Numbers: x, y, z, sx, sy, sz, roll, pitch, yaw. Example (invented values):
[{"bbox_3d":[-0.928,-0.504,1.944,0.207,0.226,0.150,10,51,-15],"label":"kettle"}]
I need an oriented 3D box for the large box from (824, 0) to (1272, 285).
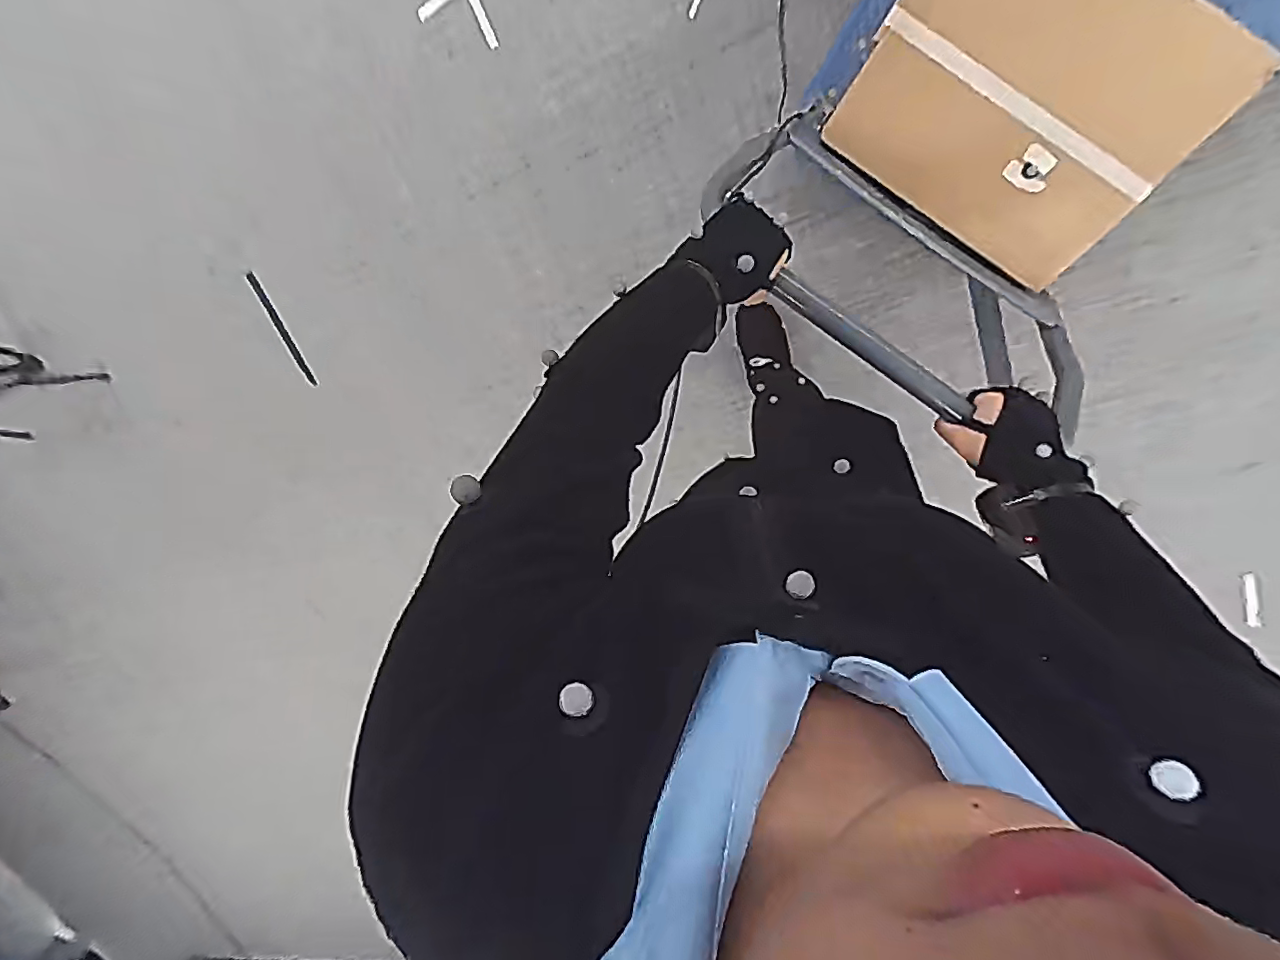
[{"bbox_3d":[0.555,-0.577,0.832,0.408,0.320,0.320,35,132,-1],"label":"large box"}]
